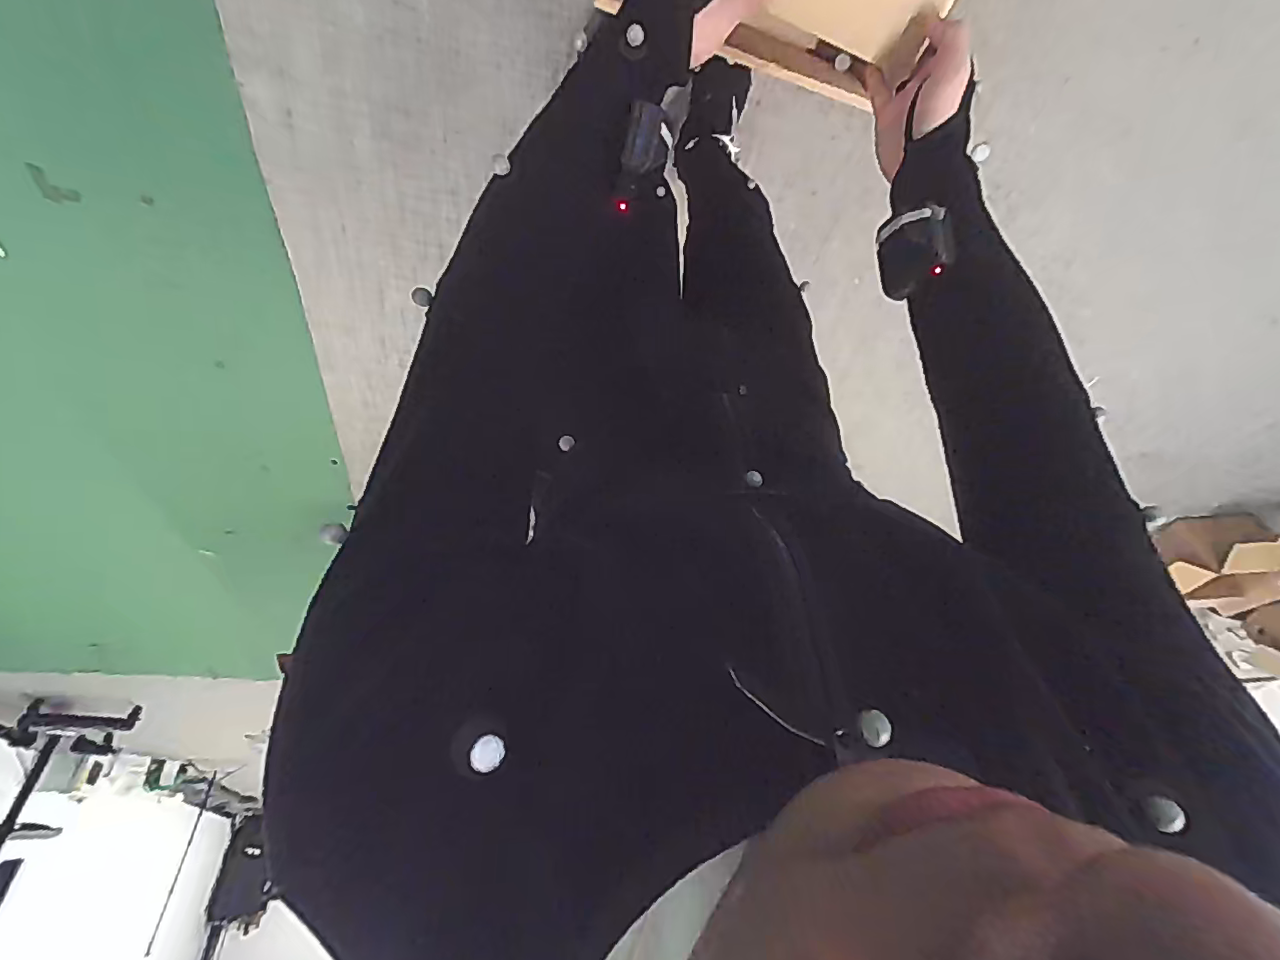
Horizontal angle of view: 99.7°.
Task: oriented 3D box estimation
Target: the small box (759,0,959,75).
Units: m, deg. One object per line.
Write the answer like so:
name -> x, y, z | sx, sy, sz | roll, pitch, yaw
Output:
small box -> 0.183, -0.485, 0.447 | 0.179, 0.176, 0.168 | 9, 139, -19
